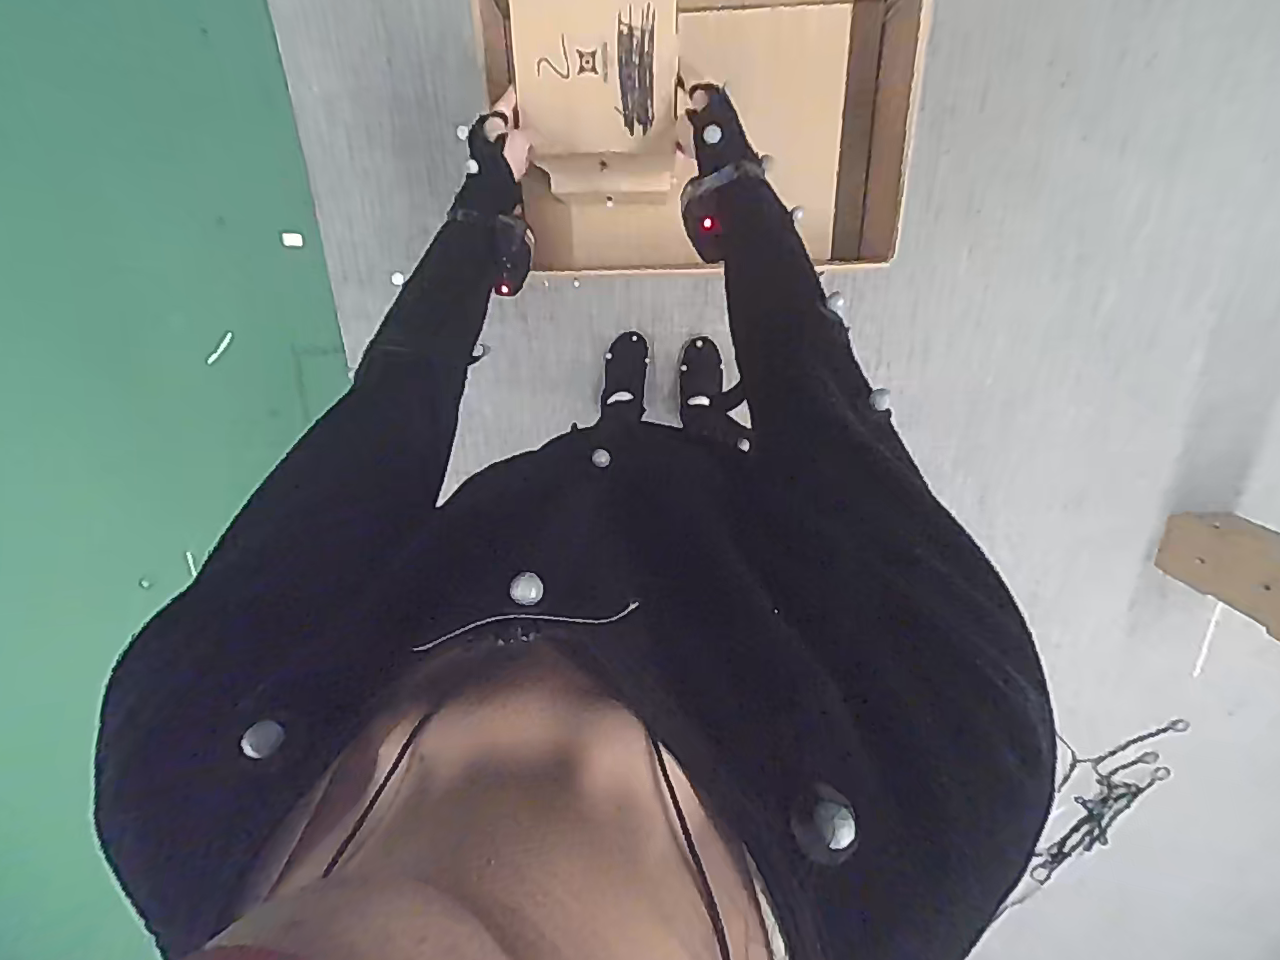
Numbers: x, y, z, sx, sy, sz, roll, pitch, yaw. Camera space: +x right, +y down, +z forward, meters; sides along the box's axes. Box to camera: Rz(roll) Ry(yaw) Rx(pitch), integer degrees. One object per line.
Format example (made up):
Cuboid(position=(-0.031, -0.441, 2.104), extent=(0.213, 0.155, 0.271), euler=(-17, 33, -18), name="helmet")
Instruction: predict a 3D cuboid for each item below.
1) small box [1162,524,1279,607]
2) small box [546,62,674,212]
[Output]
Cuboid(position=(1.595, 0.226, 1.477), extent=(0.168, 0.176, 0.179), euler=(-3, 109, 4), name="small box")
Cuboid(position=(-0.040, -0.513, 0.829), extent=(0.179, 0.176, 0.168), euler=(1, 110, 2), name="small box")
